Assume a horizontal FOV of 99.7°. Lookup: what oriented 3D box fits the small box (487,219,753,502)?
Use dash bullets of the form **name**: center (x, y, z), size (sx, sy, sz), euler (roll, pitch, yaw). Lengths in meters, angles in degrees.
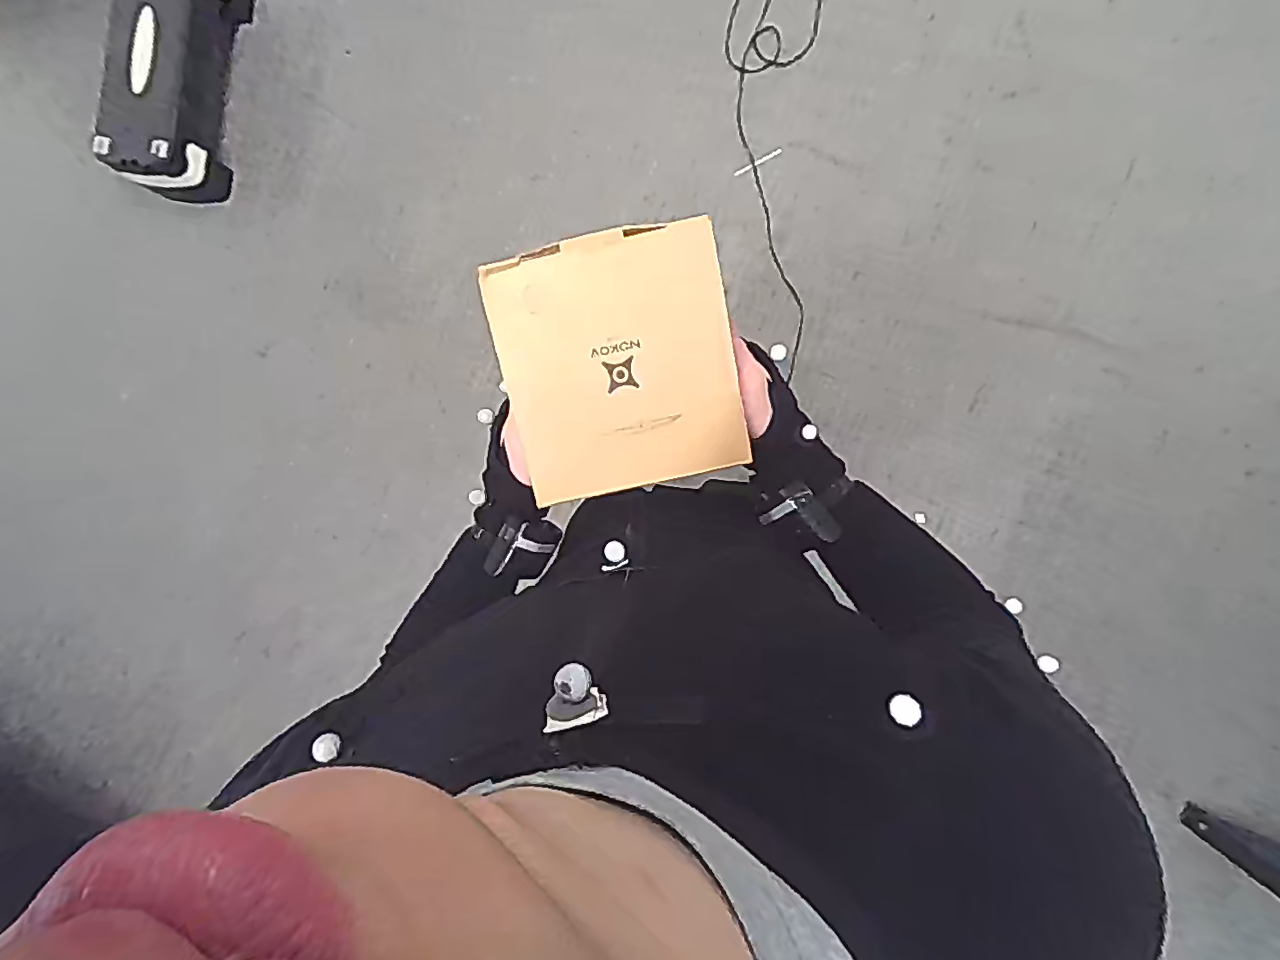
- **small box**: center (-0.012, -0.097, 0.462), size (0.168, 0.176, 0.179), euler (-11, 103, 3)
